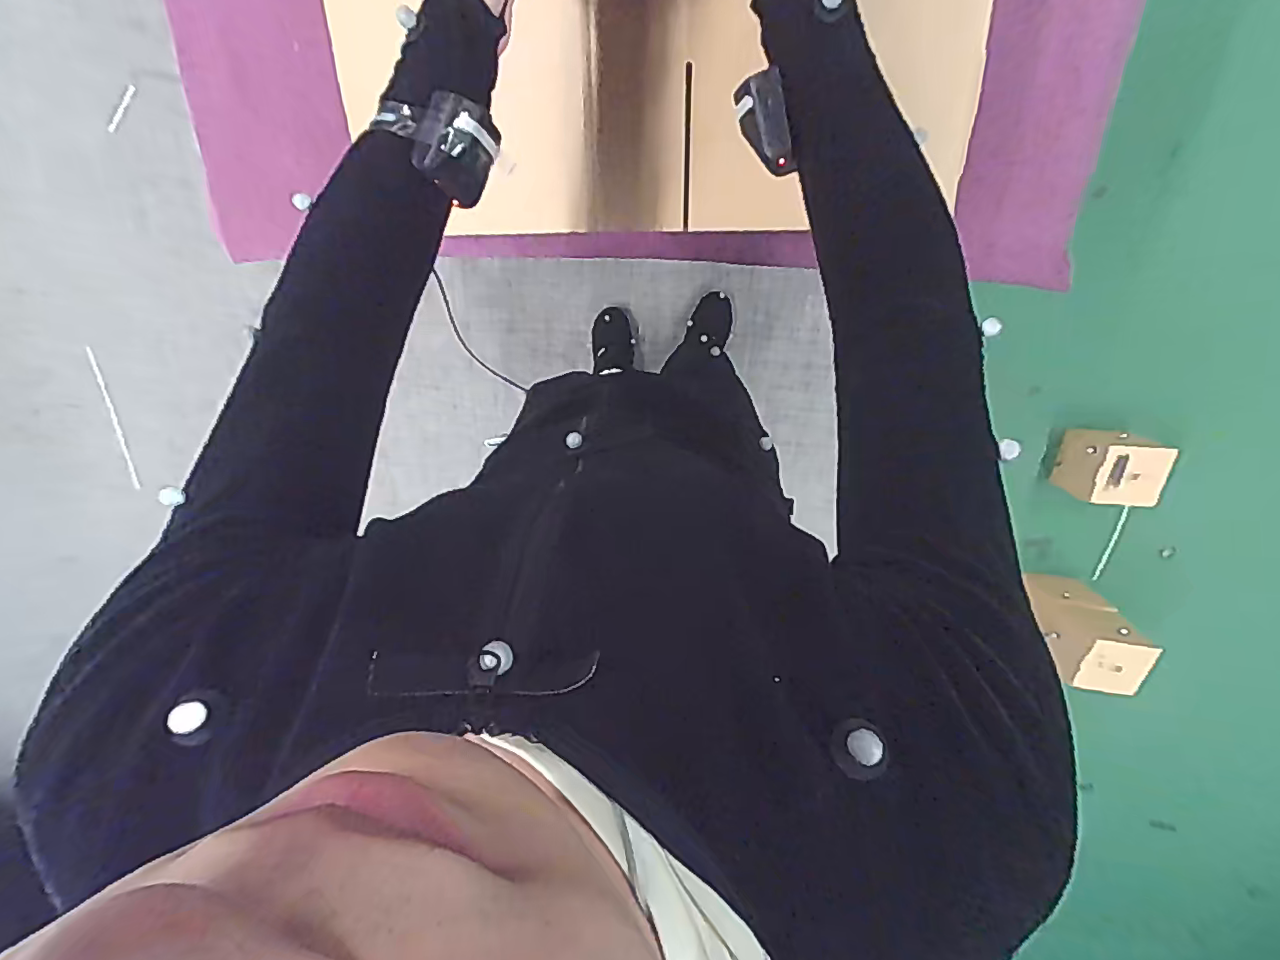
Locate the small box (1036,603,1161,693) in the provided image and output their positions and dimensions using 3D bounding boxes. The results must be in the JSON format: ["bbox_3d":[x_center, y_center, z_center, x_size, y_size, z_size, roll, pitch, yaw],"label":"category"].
[{"bbox_3d":[1.285,0.470,1.530,0.179,0.176,0.168,9,113,1],"label":"small box"}]

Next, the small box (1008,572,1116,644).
[{"bbox_3d":[1.301,0.405,1.680,0.179,0.176,0.168,7,113,2],"label":"small box"}]
